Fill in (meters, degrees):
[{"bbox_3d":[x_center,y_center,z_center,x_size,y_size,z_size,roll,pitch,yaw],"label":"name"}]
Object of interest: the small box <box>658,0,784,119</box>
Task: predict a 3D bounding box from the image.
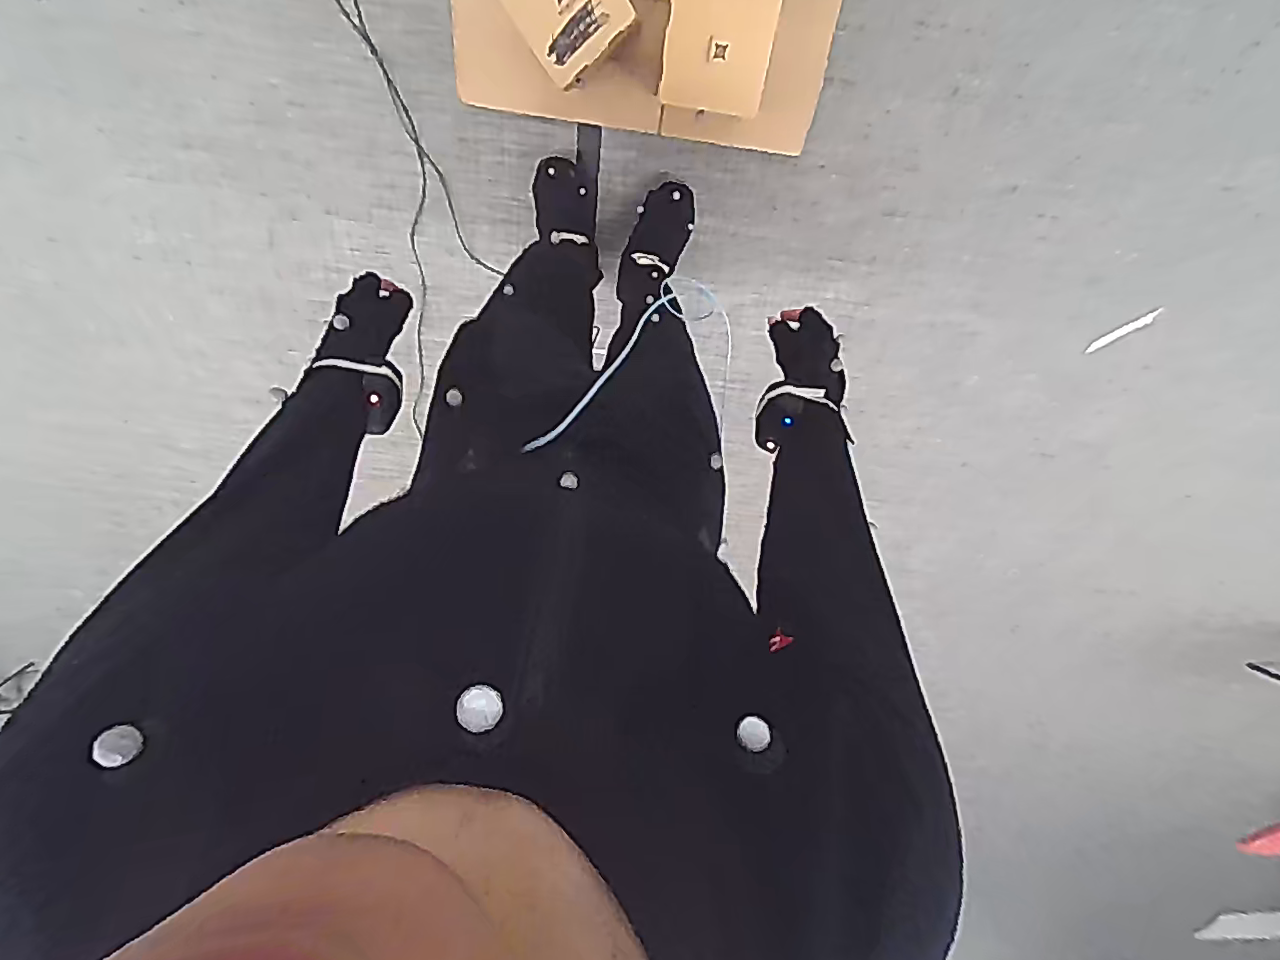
[{"bbox_3d":[0.132,-0.751,0.944,0.179,0.176,0.168,9,128,-2],"label":"small box"}]
